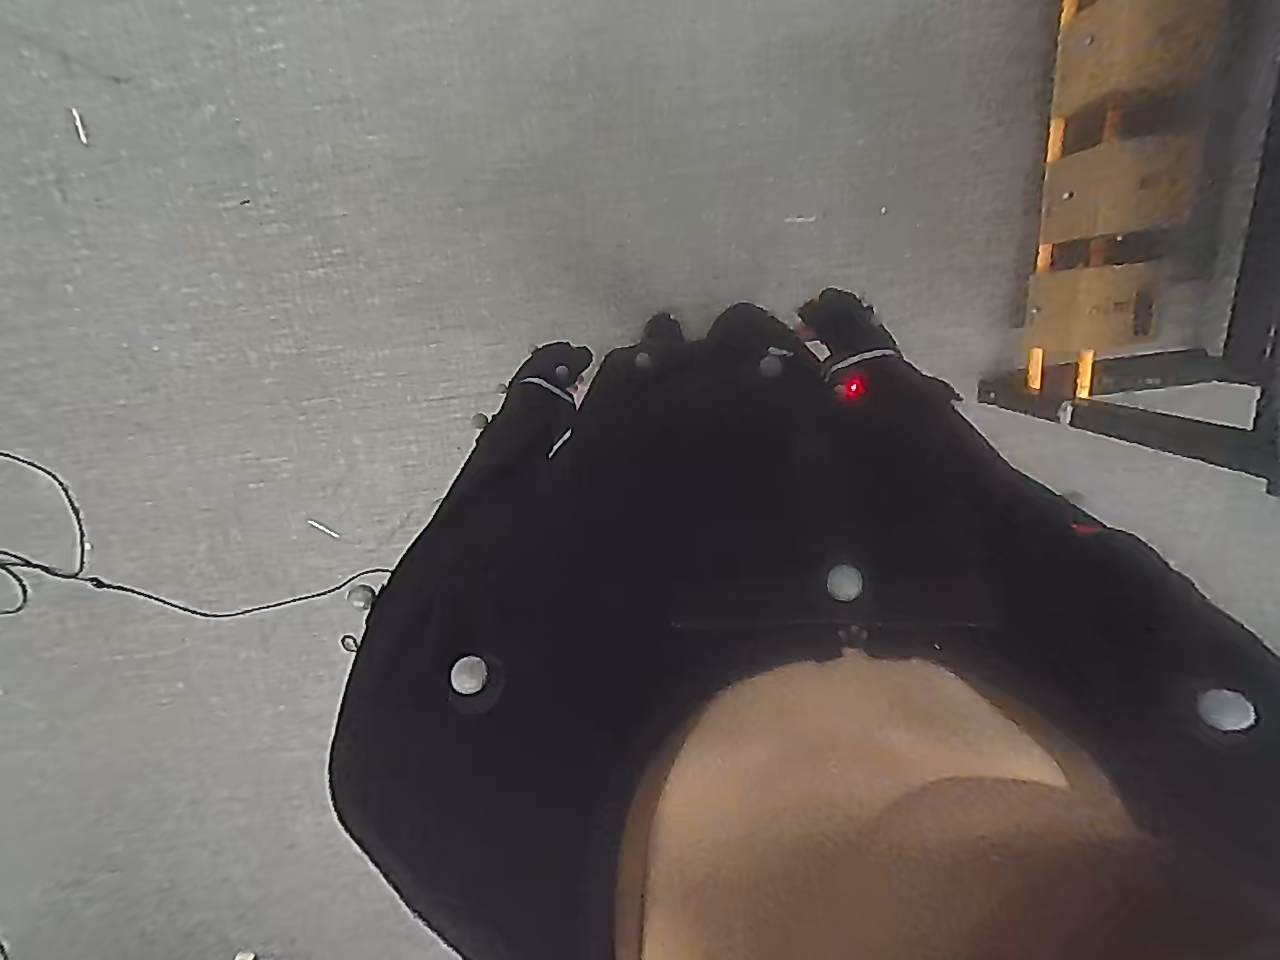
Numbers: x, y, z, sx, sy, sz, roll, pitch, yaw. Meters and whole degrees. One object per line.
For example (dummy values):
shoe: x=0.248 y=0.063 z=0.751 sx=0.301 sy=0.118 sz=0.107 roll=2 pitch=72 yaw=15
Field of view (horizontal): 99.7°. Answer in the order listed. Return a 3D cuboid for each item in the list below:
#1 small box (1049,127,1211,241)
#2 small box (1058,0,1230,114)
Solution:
small box: x=0.983 y=-0.593 z=1.105 sx=0.179 sy=0.176 sz=0.168 roll=-6 pitch=108 yaw=4
small box: x=0.949 y=-0.826 z=1.034 sx=0.179 sy=0.176 sz=0.168 roll=-5 pitch=108 yaw=4
